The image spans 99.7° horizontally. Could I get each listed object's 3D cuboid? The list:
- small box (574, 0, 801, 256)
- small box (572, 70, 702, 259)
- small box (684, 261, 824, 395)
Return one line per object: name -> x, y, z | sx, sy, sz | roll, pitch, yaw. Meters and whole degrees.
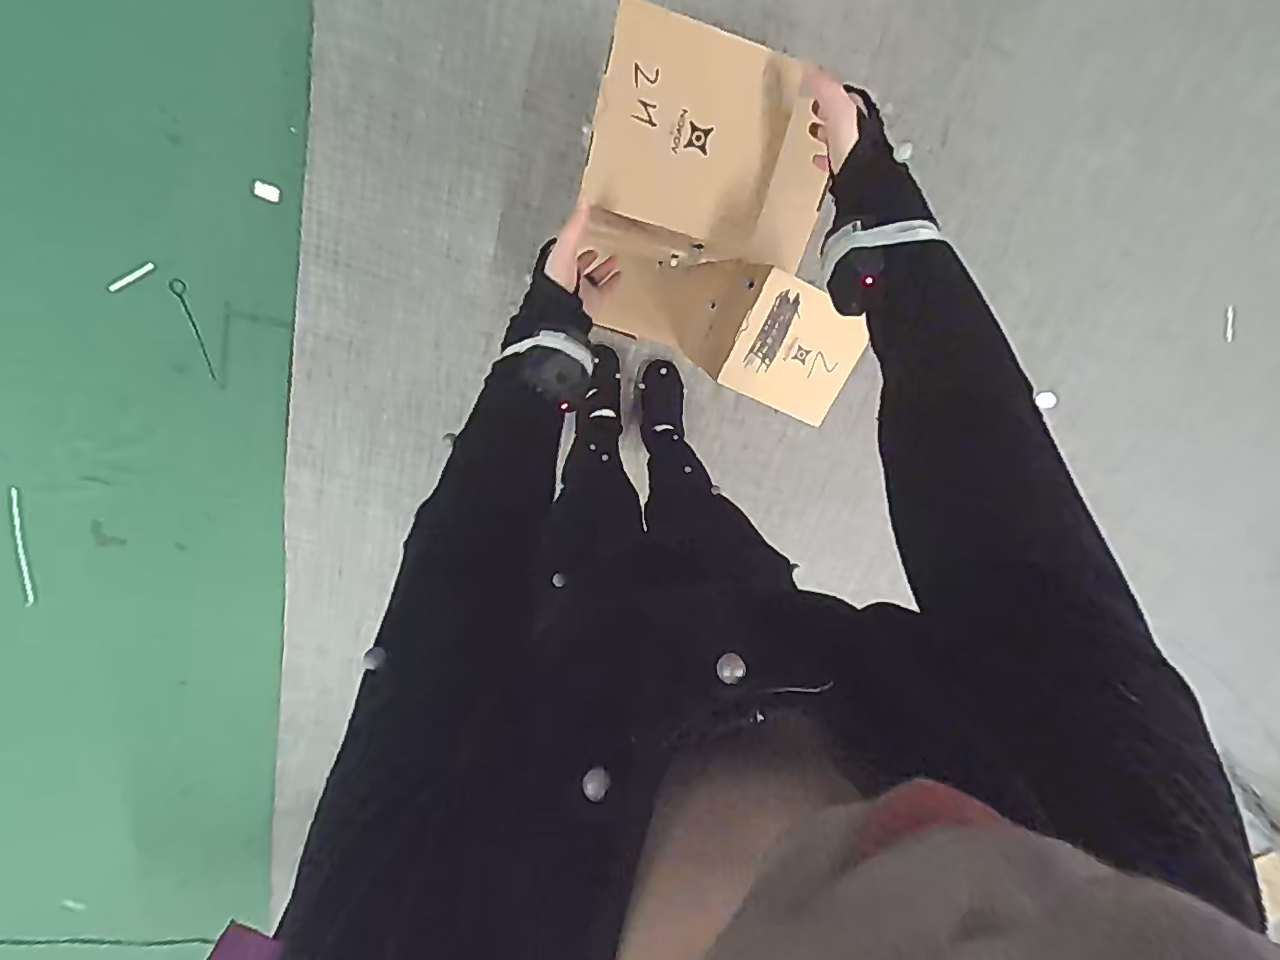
small box -> 0.035, -0.346, 0.571 | 0.179, 0.176, 0.168 | 14, 108, -10
small box -> 0.012, -0.402, 0.725 | 0.179, 0.176, 0.168 | 12, 108, -10
small box -> 0.189, -0.274, 0.963 | 0.168, 0.176, 0.179 | 17, 109, -12
